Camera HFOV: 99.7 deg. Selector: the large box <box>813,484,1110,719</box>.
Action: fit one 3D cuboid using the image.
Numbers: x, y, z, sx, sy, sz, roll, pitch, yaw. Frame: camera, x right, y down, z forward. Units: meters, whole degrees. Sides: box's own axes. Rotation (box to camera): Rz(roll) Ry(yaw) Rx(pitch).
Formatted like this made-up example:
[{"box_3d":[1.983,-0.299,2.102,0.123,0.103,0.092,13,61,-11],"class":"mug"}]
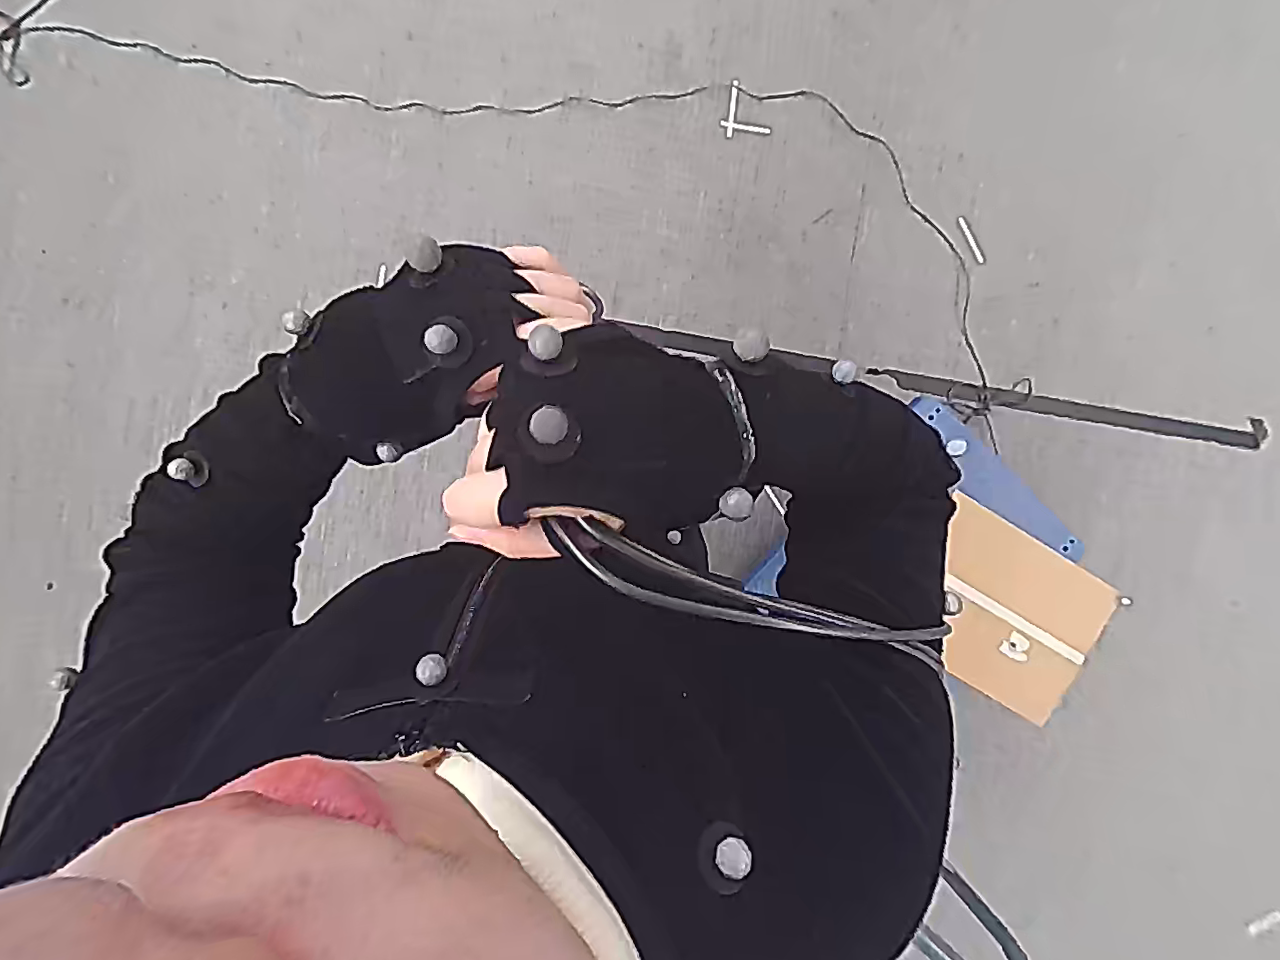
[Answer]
[{"box_3d":[0.674,0.239,1.203,0.408,0.320,0.320,32,91,-4],"class":"large box"}]
